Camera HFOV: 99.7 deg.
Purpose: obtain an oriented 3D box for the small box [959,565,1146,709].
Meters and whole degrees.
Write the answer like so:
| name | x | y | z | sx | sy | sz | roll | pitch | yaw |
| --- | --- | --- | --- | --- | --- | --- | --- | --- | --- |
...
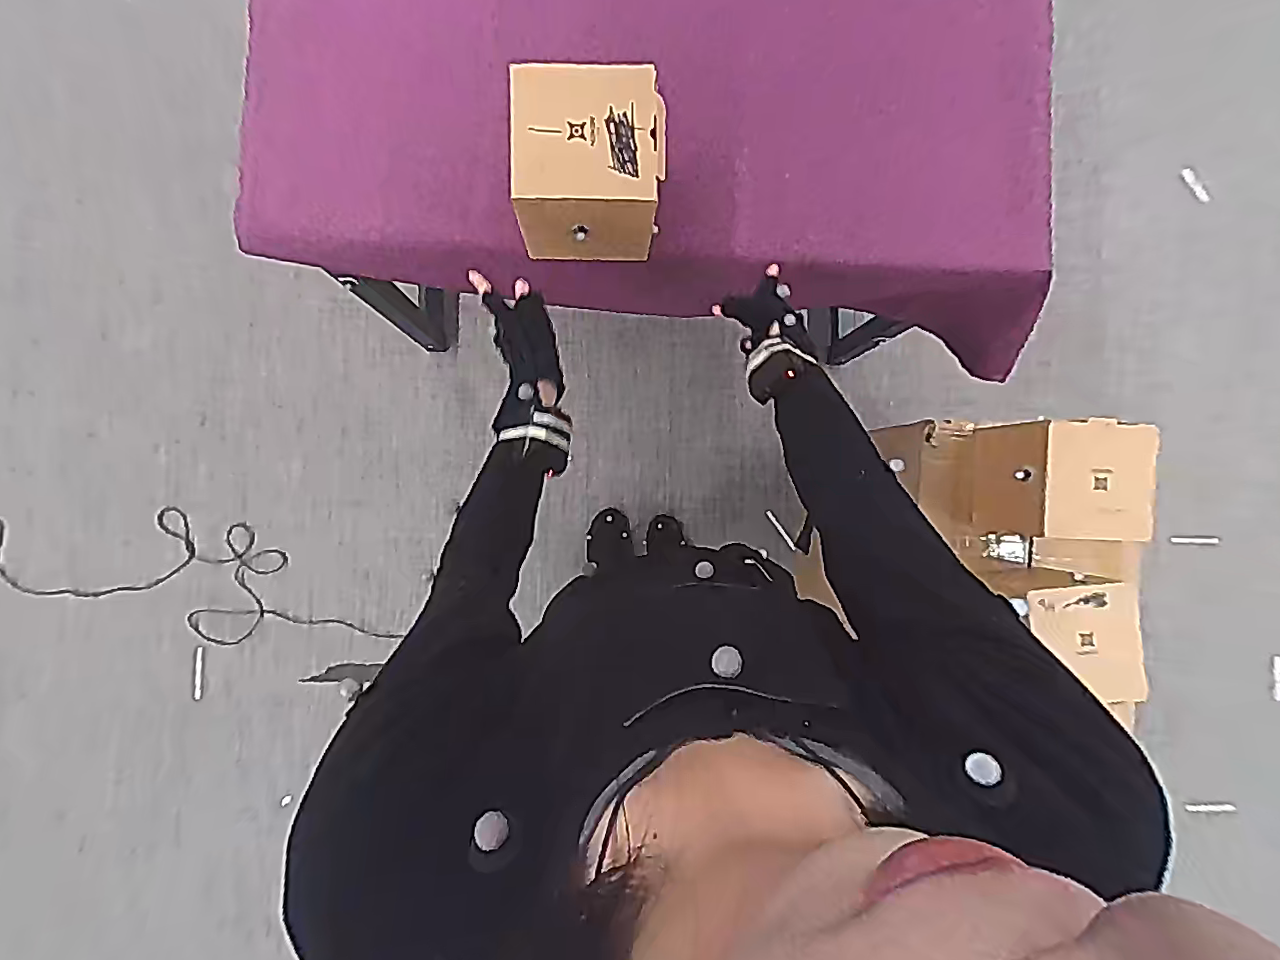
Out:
| name | x | y | z | sx | sy | sz | roll | pitch | yaw |
| --- | --- | --- | --- | --- | --- | --- | --- | --- | --- |
| small box | 0.638 | 0.238 | 0.856 | 0.168 | 0.176 | 0.179 | -4 | 88 | -3 |

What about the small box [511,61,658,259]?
| name | x | y | z | sx | sy | sz | roll | pitch | yaw |
| --- | --- | --- | --- | --- | --- | --- | --- | --- | --- |
| small box | -0.071 | -0.411 | 0.723 | 0.179 | 0.176 | 0.168 | 0 | 88 | -3 |
